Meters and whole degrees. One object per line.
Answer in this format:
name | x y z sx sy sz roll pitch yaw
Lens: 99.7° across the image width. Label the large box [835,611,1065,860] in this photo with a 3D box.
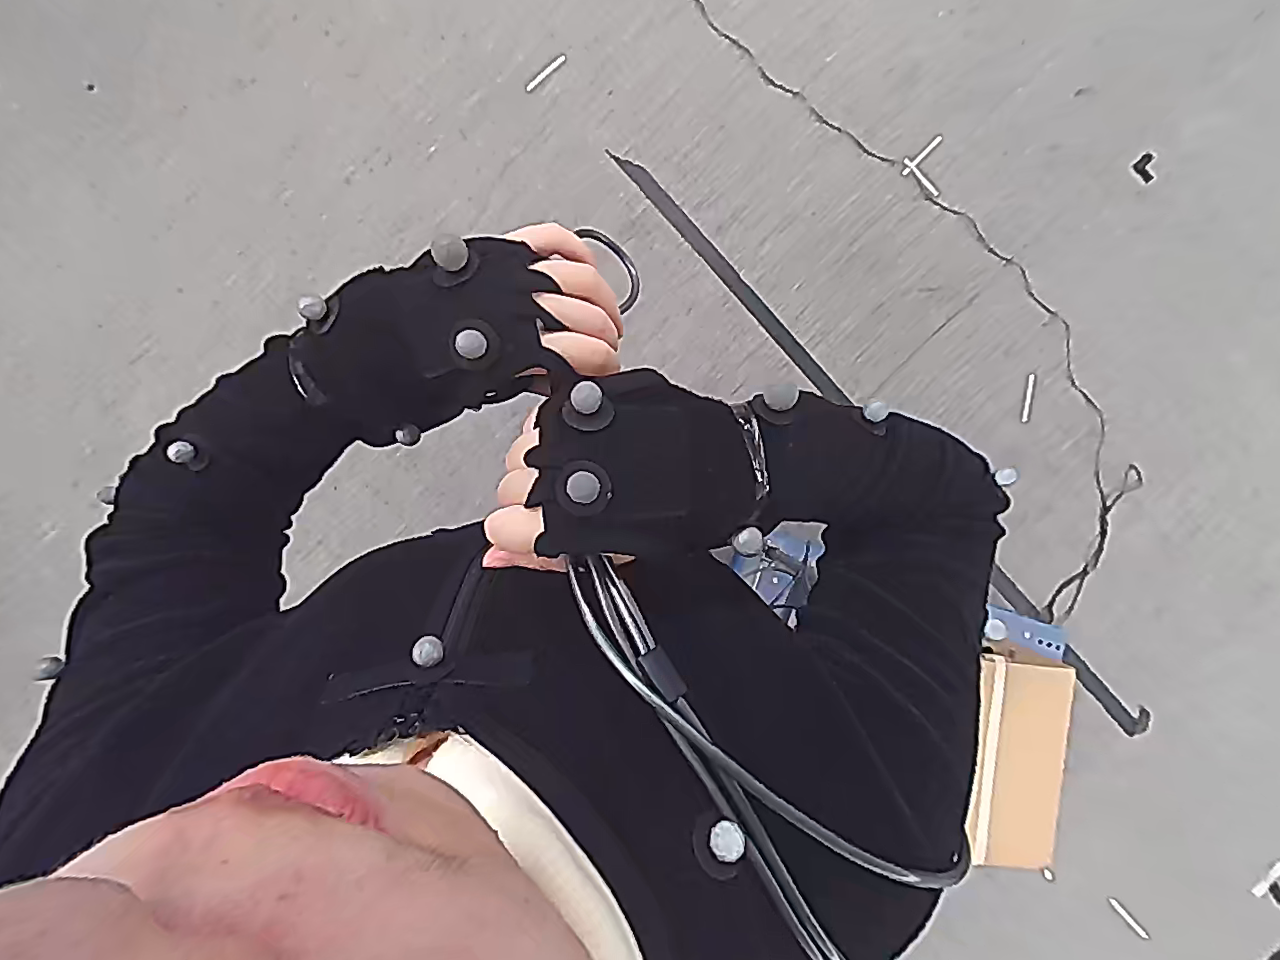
large box | 0.662 0.538 1.210 0.320 0.320 0.408 7 91 -2
